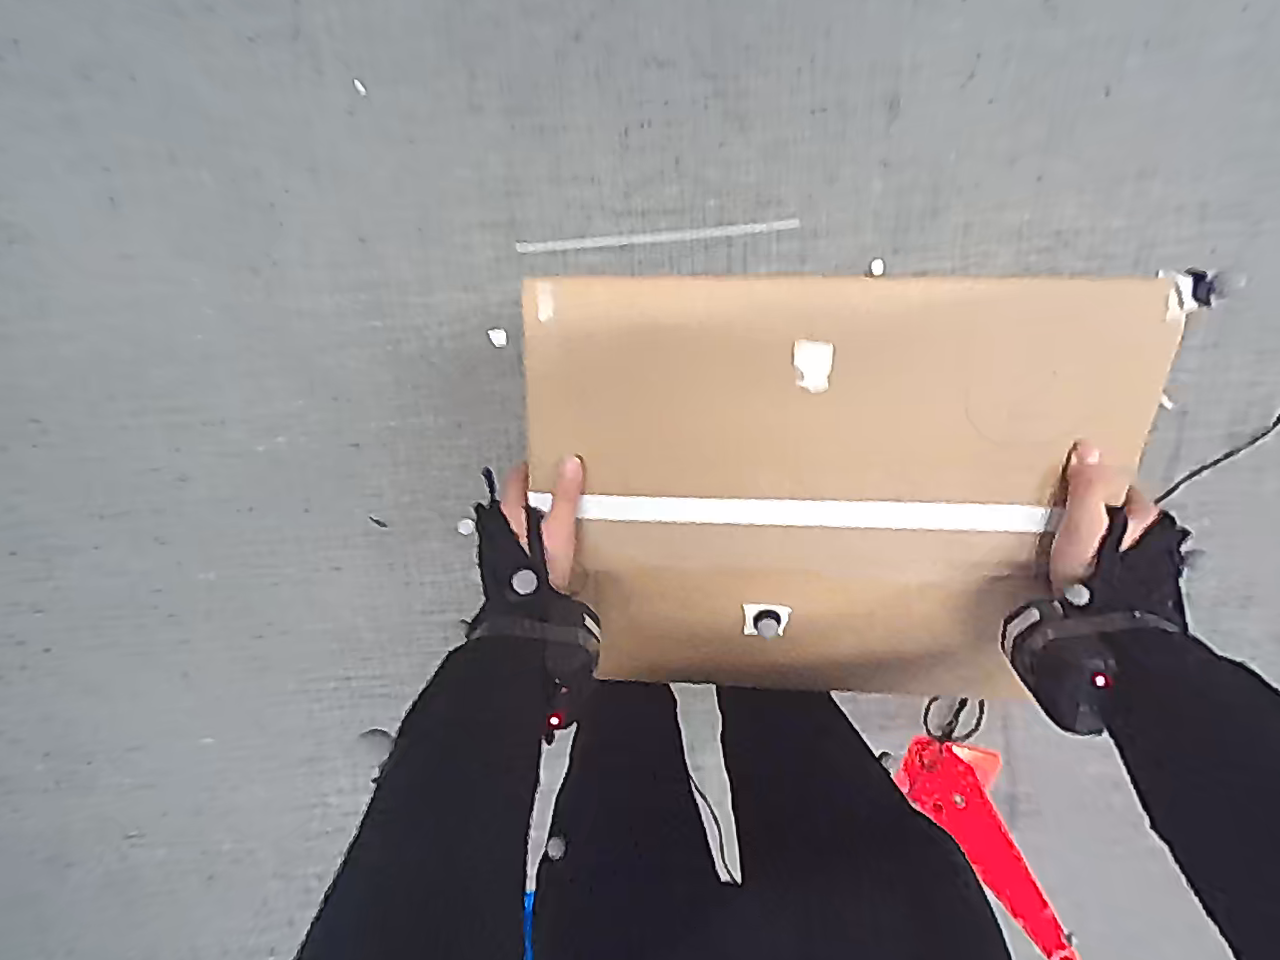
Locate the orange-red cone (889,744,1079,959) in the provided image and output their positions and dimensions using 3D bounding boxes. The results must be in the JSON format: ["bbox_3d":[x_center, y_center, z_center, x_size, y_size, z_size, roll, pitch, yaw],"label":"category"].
[{"bbox_3d":[0.643,0.689,0.967,0.199,0.360,0.198,15,103,-4],"label":"orange-red cone"}]
